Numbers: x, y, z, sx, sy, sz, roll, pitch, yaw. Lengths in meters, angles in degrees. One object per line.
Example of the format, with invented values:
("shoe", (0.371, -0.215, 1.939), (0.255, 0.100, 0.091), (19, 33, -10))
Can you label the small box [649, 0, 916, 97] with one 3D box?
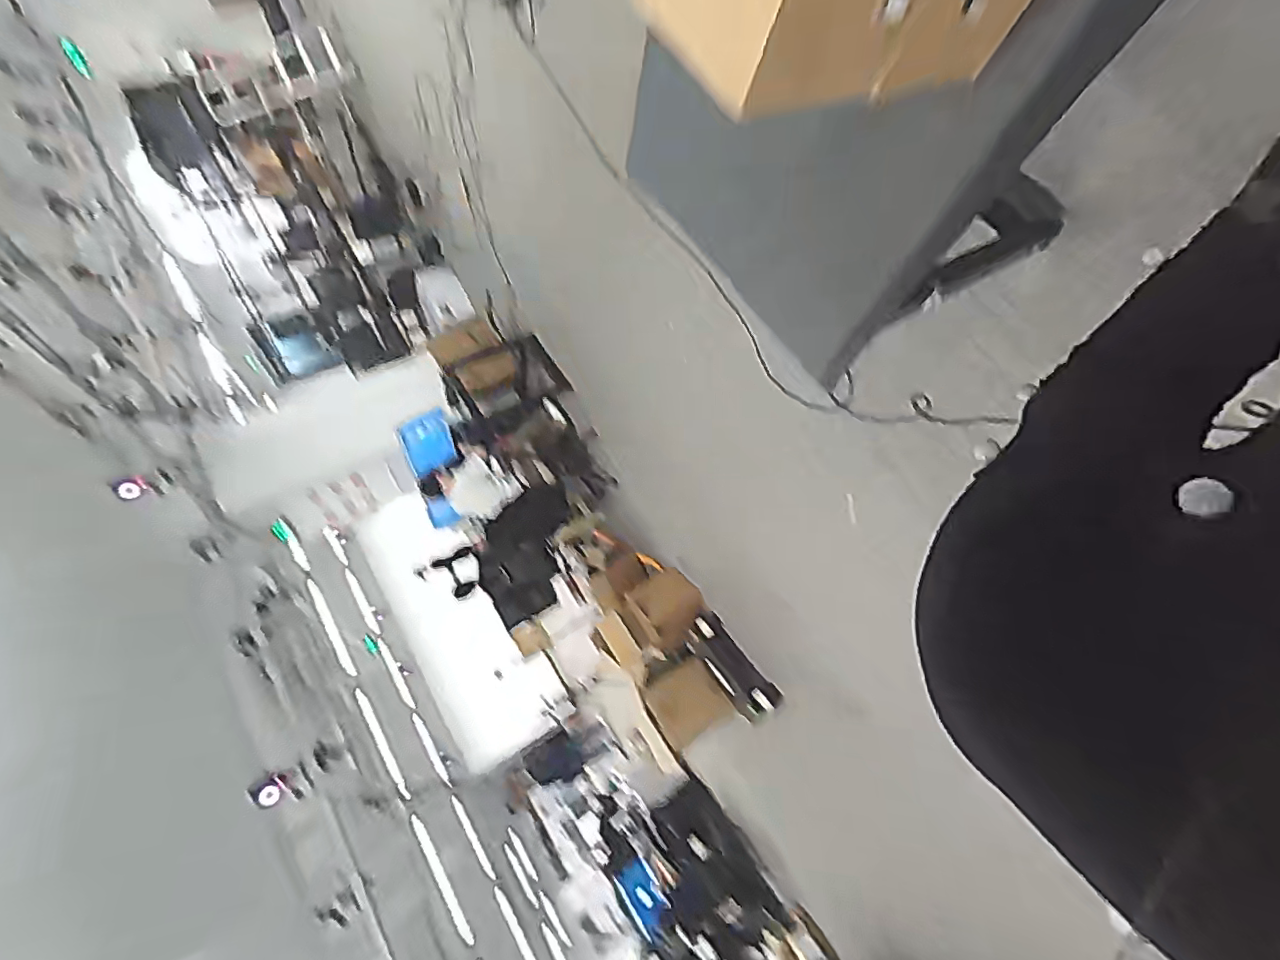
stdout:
("small box", (0.117, -0.433, 0.408), (0.179, 0.176, 0.168), (58, 155, 13))

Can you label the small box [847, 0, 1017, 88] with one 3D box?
("small box", (0.255, -0.493, 0.474), (0.168, 0.176, 0.179), (58, 156, 14))
